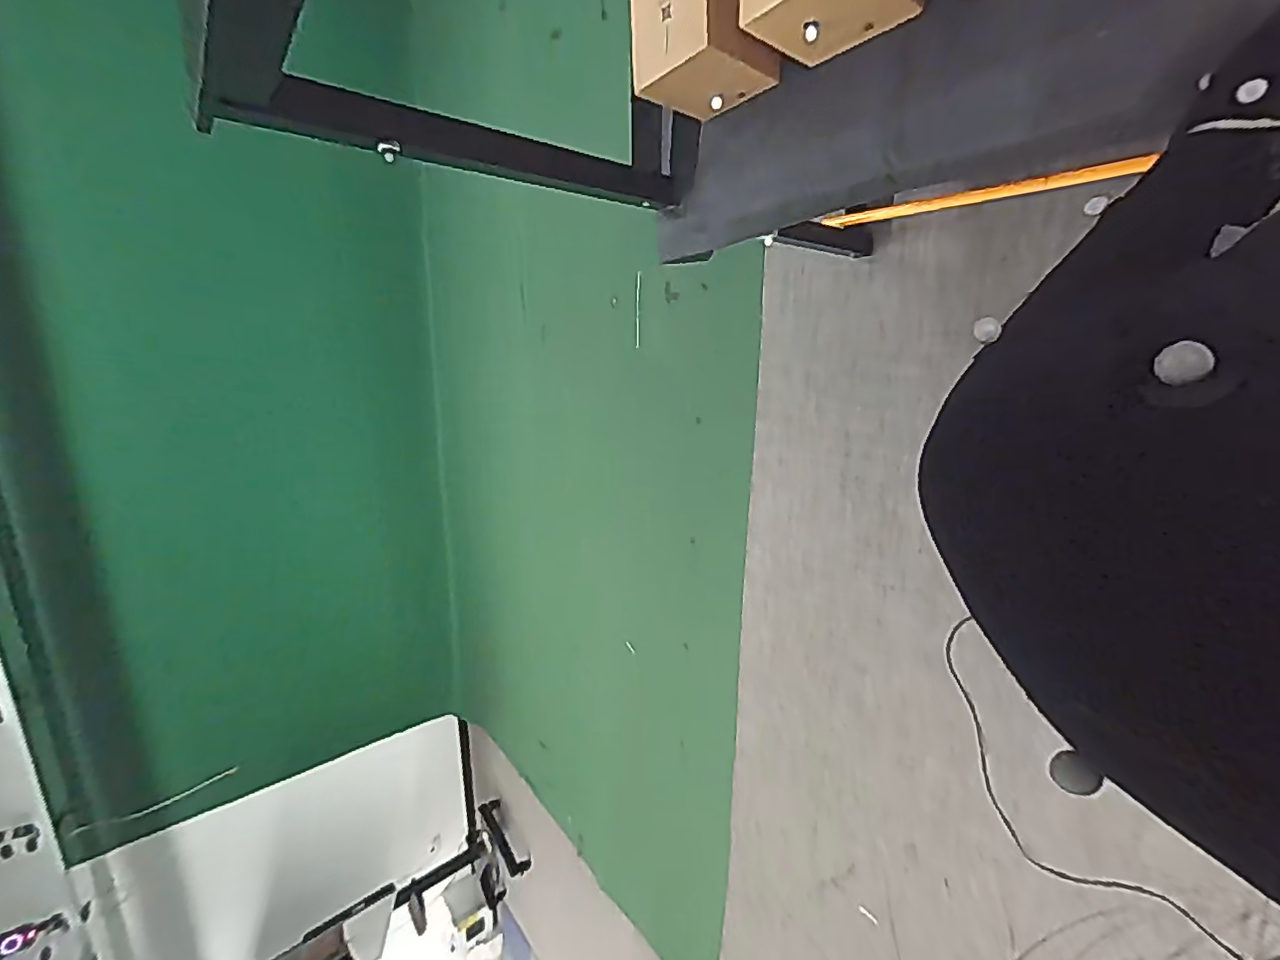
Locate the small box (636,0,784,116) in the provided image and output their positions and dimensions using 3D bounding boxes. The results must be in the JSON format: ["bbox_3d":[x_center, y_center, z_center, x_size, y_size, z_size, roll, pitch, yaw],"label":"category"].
[{"bbox_3d":[0.110,-0.713,0.846,0.168,0.176,0.179,12,108,50],"label":"small box"}]
